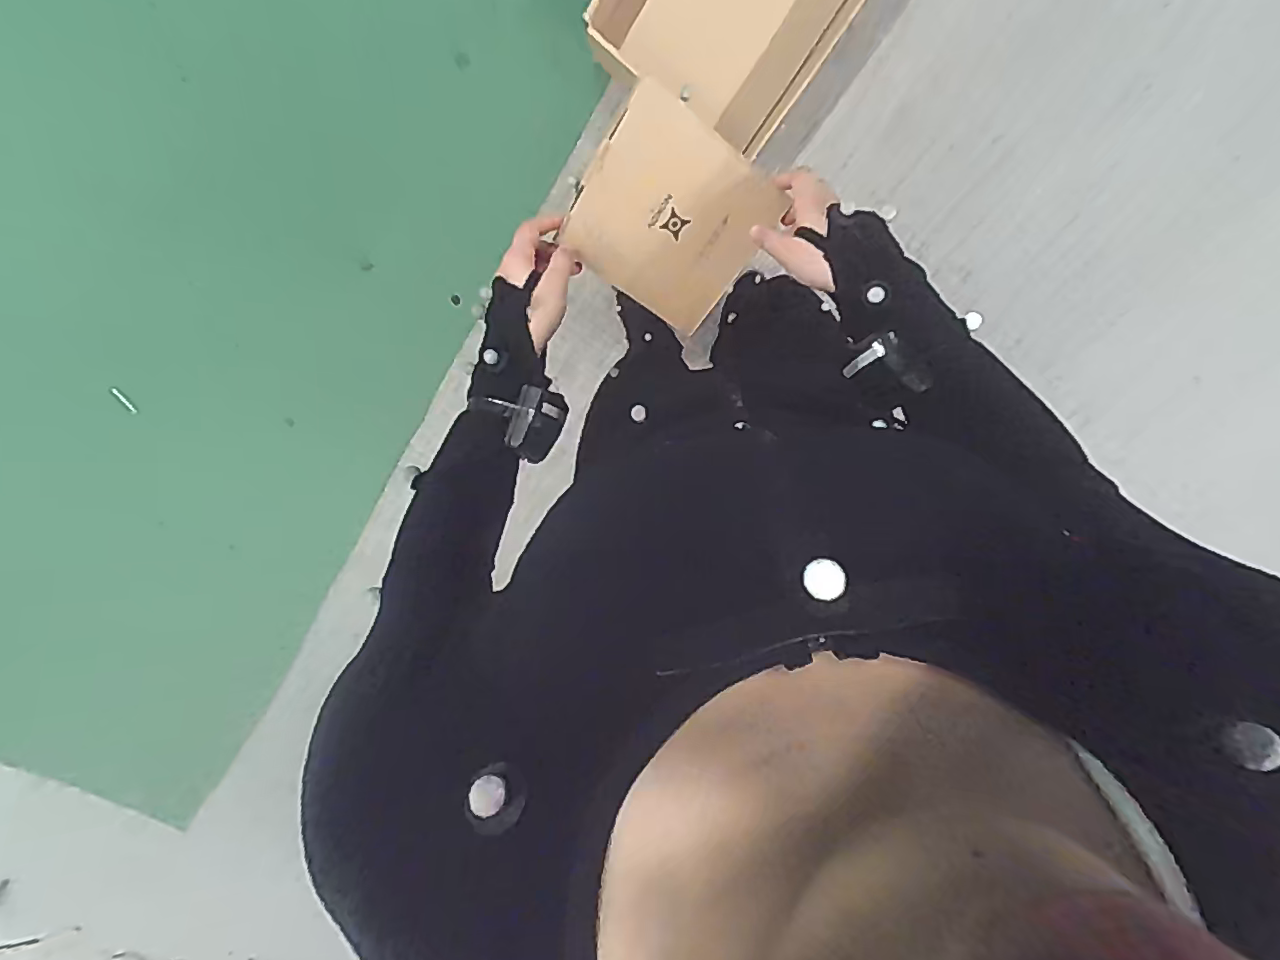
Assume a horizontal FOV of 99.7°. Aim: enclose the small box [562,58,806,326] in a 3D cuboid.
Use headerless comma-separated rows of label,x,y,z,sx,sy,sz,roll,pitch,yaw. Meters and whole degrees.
small box,0.037,-0.302,0.575,0.179,0.176,0.168,27,122,-22
